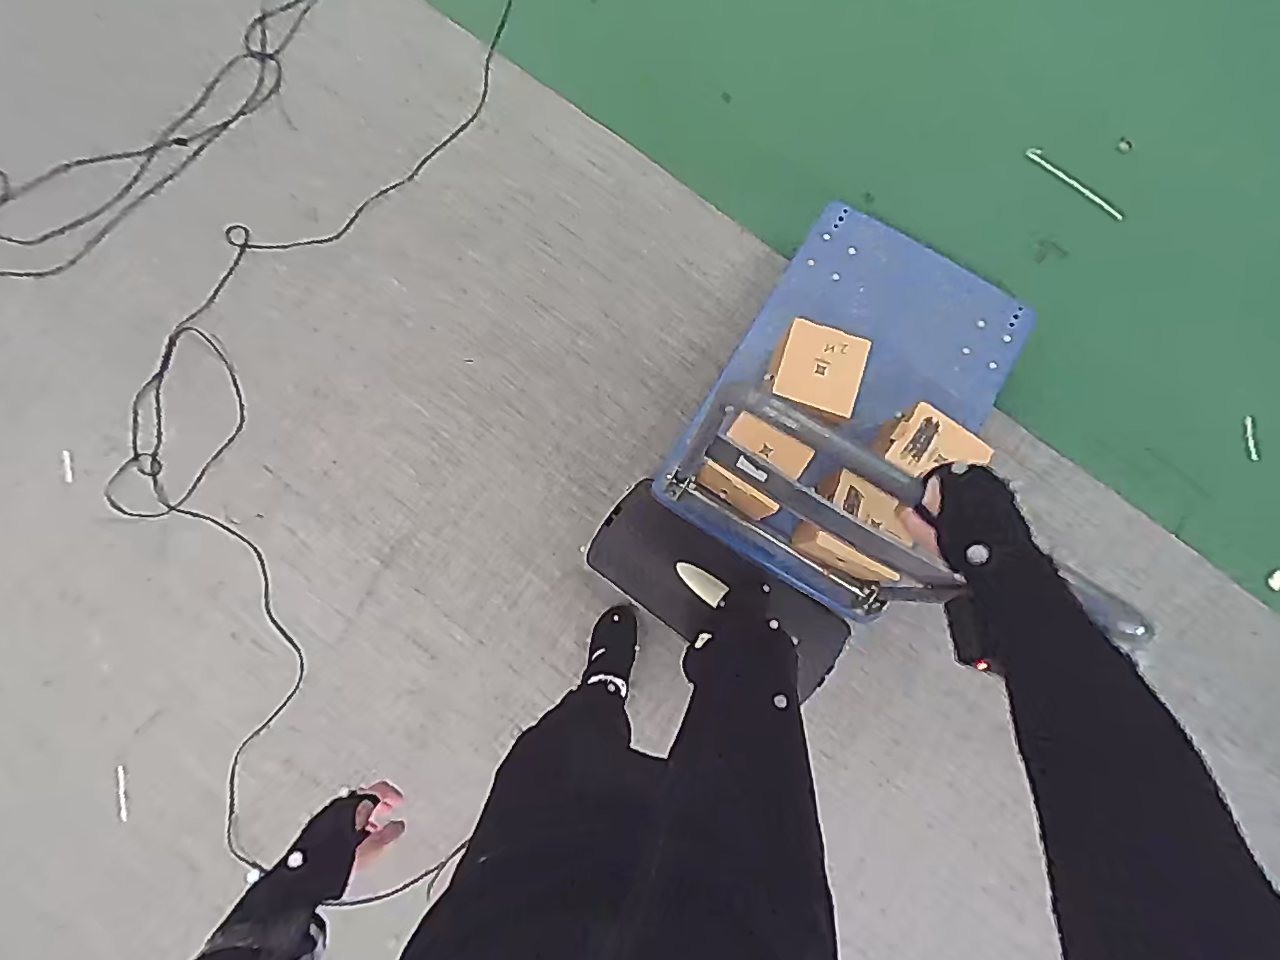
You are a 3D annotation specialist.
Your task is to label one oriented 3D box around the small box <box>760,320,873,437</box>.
[{"bbox_3d":[0.371,-0.209,1.169,0.168,0.176,0.179,19,81,2],"label":"small box"}]
